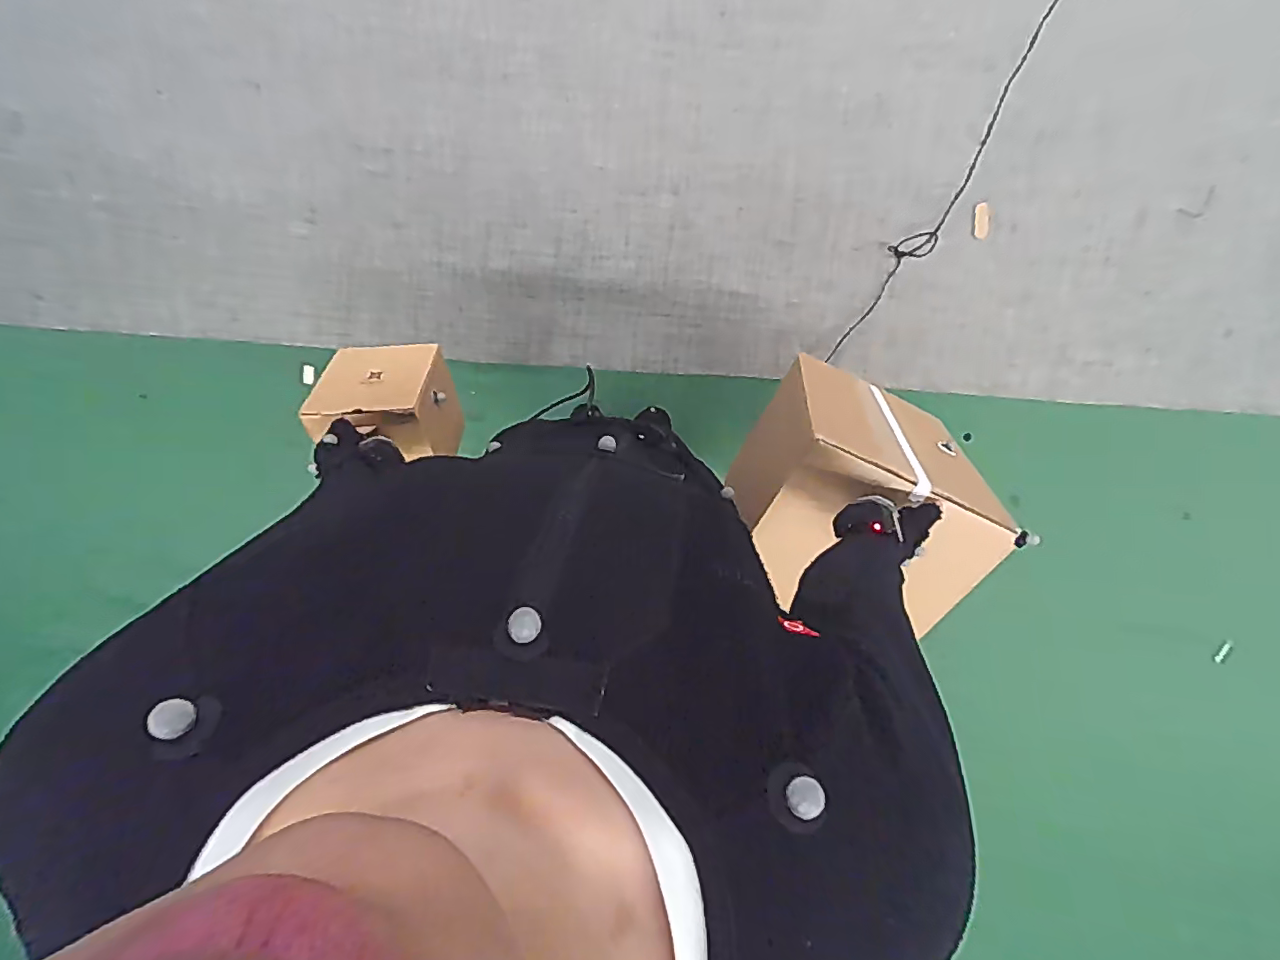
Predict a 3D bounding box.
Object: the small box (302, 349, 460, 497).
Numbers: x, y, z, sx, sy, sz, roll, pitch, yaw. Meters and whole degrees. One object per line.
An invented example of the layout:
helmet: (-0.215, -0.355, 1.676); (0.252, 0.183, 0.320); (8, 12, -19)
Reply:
small box: (-0.406, -0.093, 0.887); (0.168, 0.179, 0.176); (-4, 136, -1)
